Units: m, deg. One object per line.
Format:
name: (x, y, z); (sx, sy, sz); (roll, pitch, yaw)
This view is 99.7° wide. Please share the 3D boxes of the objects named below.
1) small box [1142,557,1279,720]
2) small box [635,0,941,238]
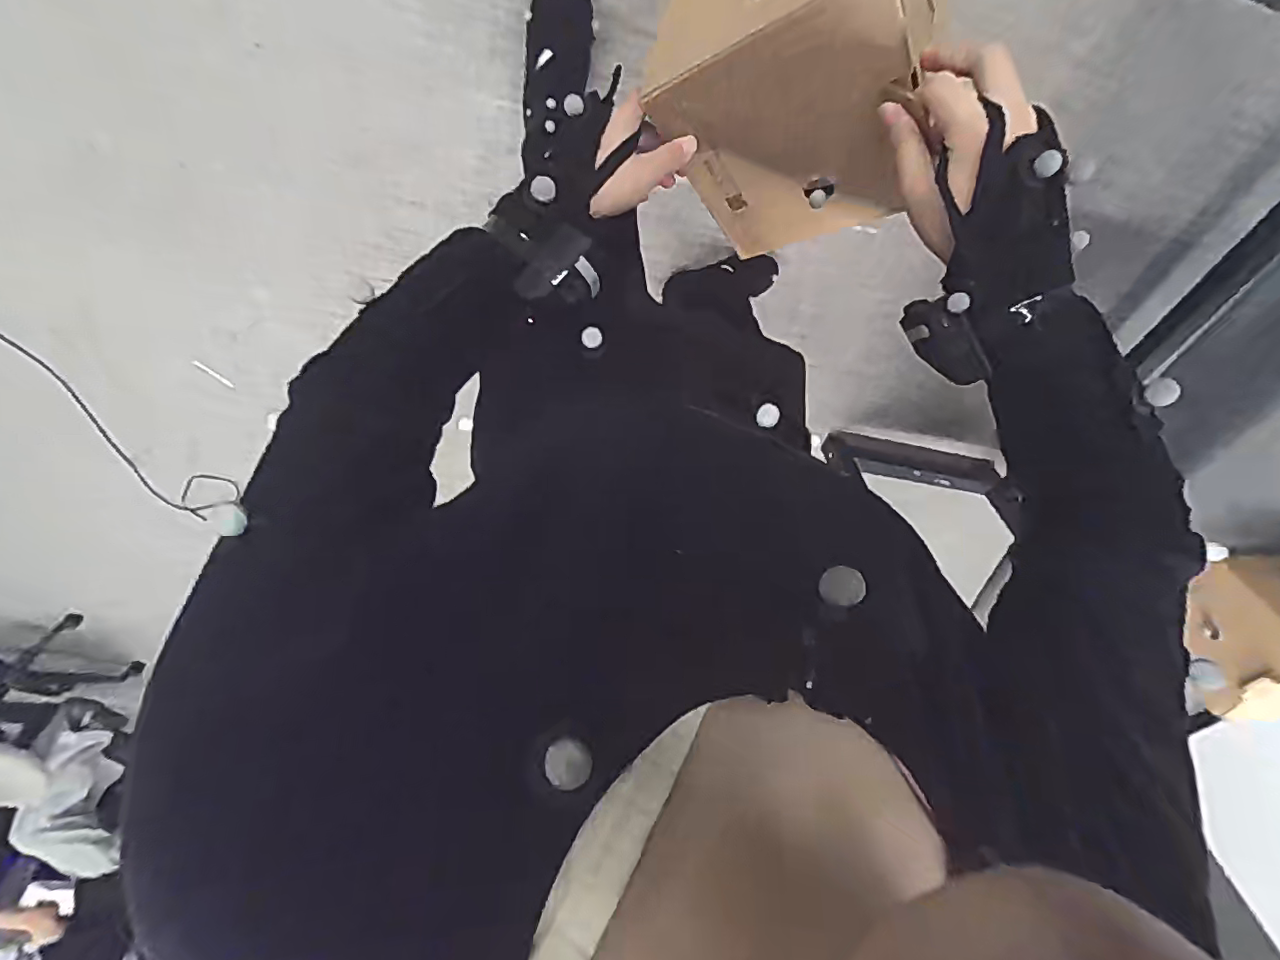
small box: (0.907, 0.227, 0.782); (0.179, 0.176, 0.168); (3, 133, -5)
small box: (0.117, -0.321, 0.411); (0.176, 0.179, 0.168); (-2, 156, 37)
